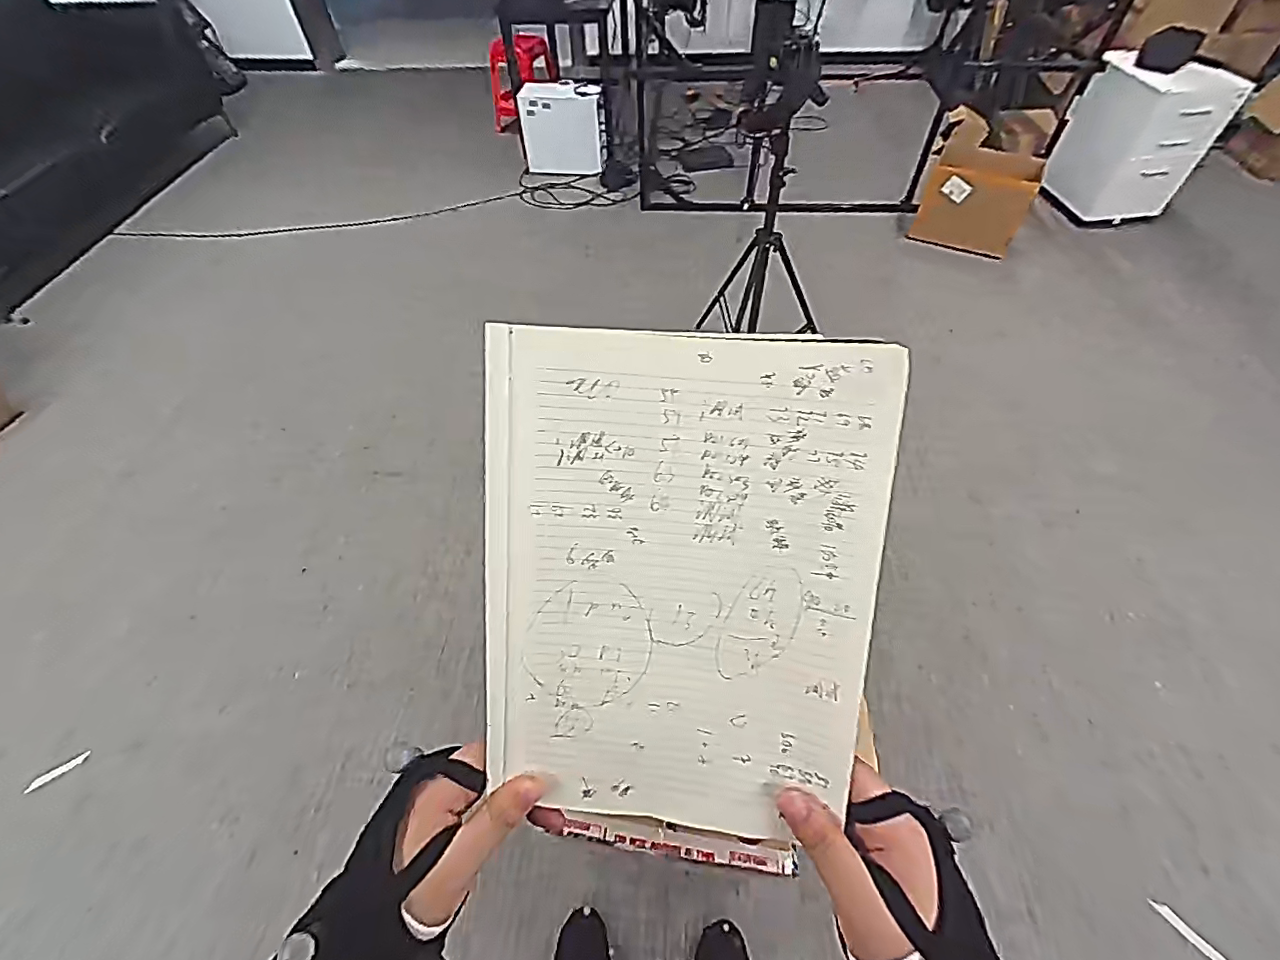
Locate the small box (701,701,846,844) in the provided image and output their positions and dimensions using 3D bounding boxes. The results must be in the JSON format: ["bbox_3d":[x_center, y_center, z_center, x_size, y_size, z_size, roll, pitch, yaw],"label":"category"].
[{"bbox_3d":[0.188,0.446,0.819,0.179,0.176,0.168,2,54,2],"label":"small box"}]

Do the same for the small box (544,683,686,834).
[{"bbox_3d":[-0.027,0.433,0.835,0.179,0.176,0.168,8,55,10],"label":"small box"}]
